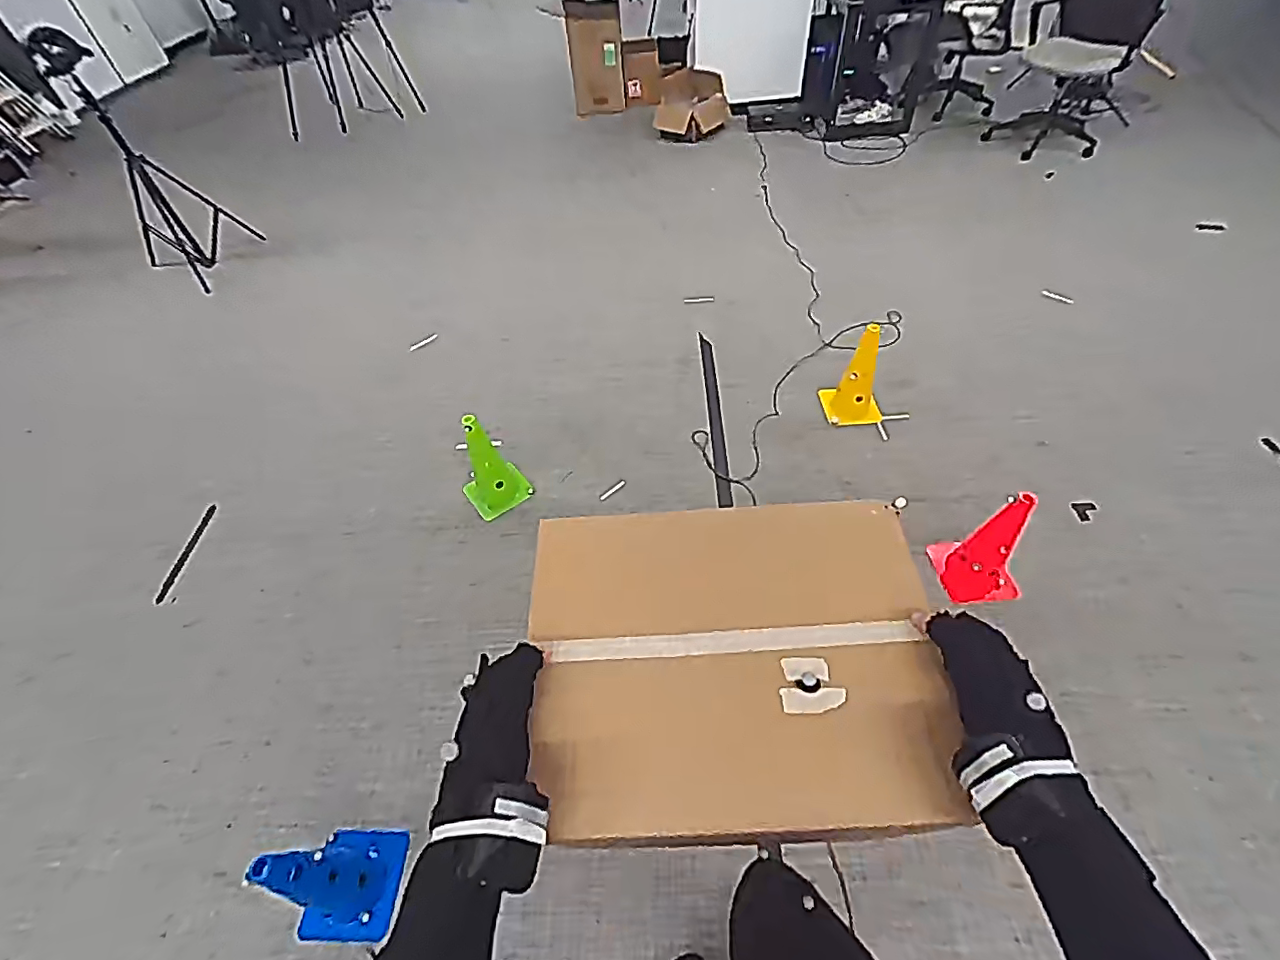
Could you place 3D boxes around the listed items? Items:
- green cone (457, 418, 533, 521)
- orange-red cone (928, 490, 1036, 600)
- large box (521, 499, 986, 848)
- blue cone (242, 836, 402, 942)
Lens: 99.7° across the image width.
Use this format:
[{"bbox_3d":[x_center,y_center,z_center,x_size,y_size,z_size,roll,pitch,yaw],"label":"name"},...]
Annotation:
[{"bbox_3d":[-0.521,-0.068,1.791,0.202,0.368,0.200,-34,54,-20],"label":"green cone"},{"bbox_3d":[0.966,0.151,1.466,0.198,0.360,0.199,-5,48,0],"label":"orange-red cone"},{"bbox_3d":[0.096,0.247,0.662,0.408,0.320,0.320,-4,54,2],"label":"large box"},{"bbox_3d":[-0.655,0.810,1.090,0.192,0.380,0.193,-2,50,6],"label":"blue cone"}]
